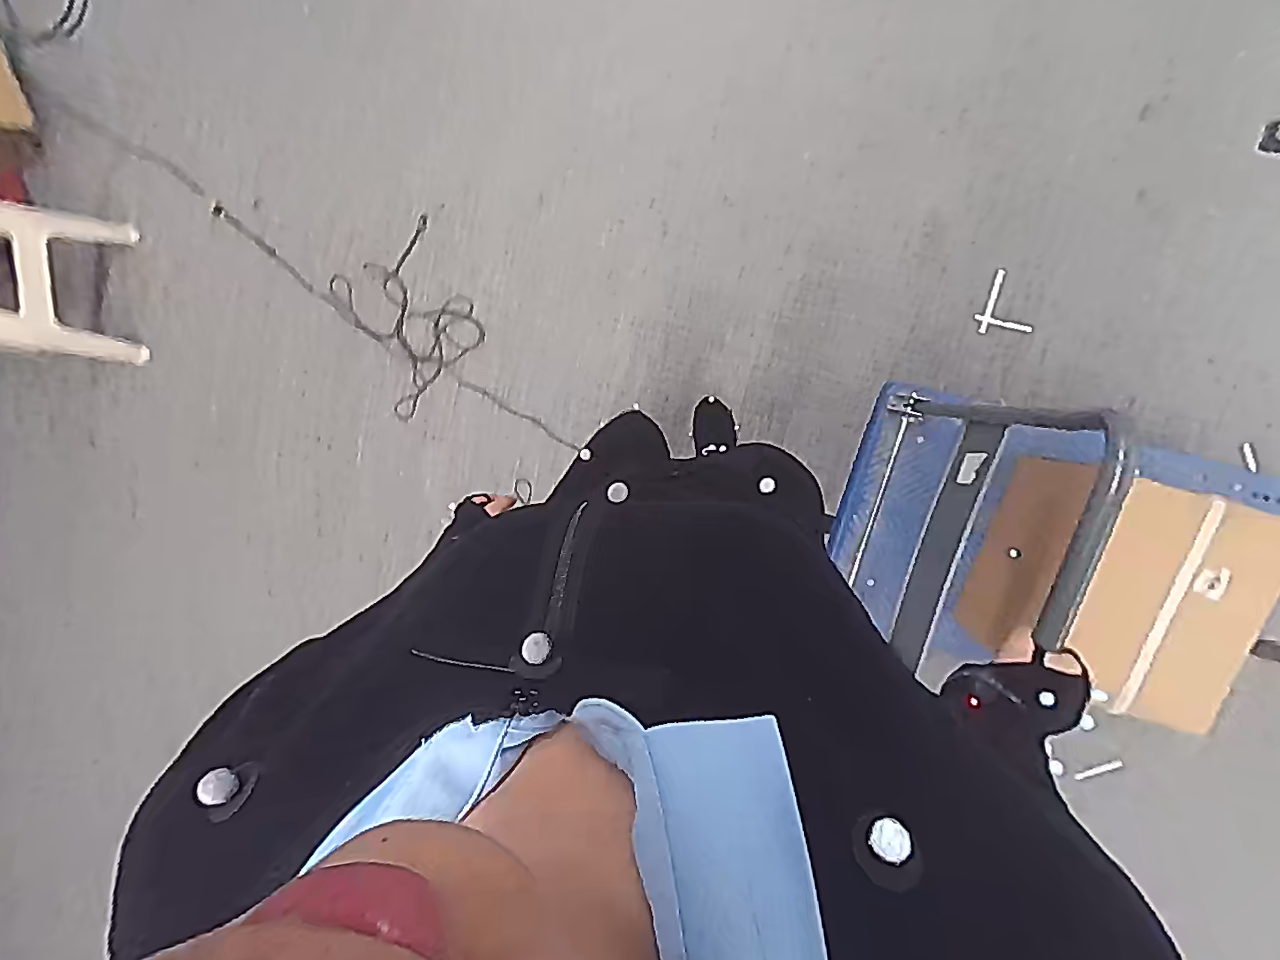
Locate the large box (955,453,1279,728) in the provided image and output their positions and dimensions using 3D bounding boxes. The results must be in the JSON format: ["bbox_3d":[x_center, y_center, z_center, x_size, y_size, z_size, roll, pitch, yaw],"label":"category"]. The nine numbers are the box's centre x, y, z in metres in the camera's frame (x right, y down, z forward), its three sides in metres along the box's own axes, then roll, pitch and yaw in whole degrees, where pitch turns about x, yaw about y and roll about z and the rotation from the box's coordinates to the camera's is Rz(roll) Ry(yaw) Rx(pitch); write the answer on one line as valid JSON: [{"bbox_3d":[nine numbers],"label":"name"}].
[{"bbox_3d":[0.902,0.187,1.070,0.320,0.320,0.408,16,99,3],"label":"large box"}]
